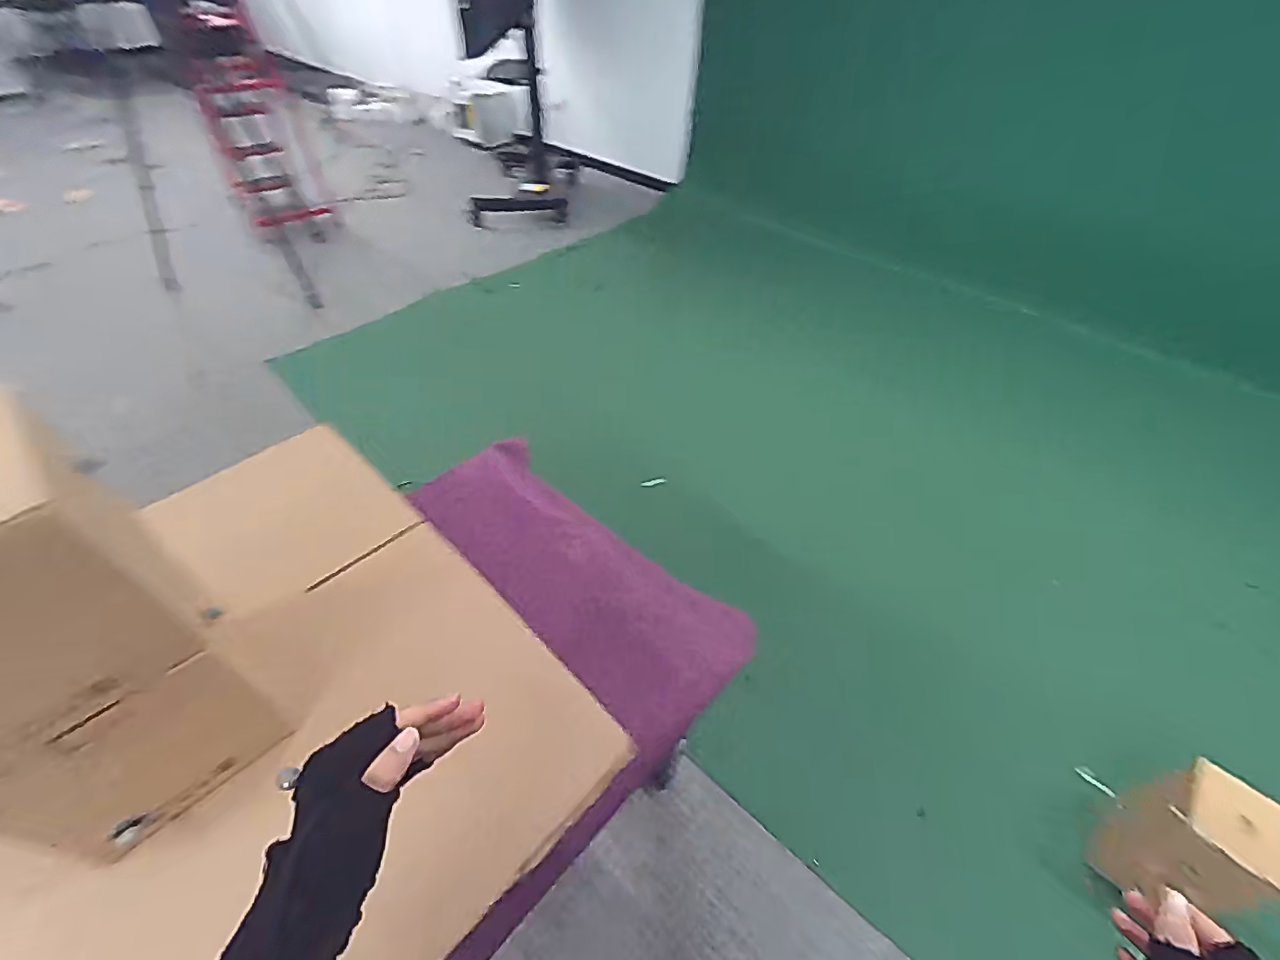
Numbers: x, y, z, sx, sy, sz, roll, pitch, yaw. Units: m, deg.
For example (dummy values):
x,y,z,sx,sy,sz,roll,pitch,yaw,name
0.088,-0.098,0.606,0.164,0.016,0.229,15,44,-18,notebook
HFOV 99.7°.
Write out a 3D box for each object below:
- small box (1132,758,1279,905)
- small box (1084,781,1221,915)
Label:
x,y,z,sx,sy,sz,roll,pitch,yaw,name
1.156,0.713,1.097,0.168,0.176,0.179,34,54,25,small box
1.150,0.826,1.214,0.168,0.176,0.179,35,54,27,small box
